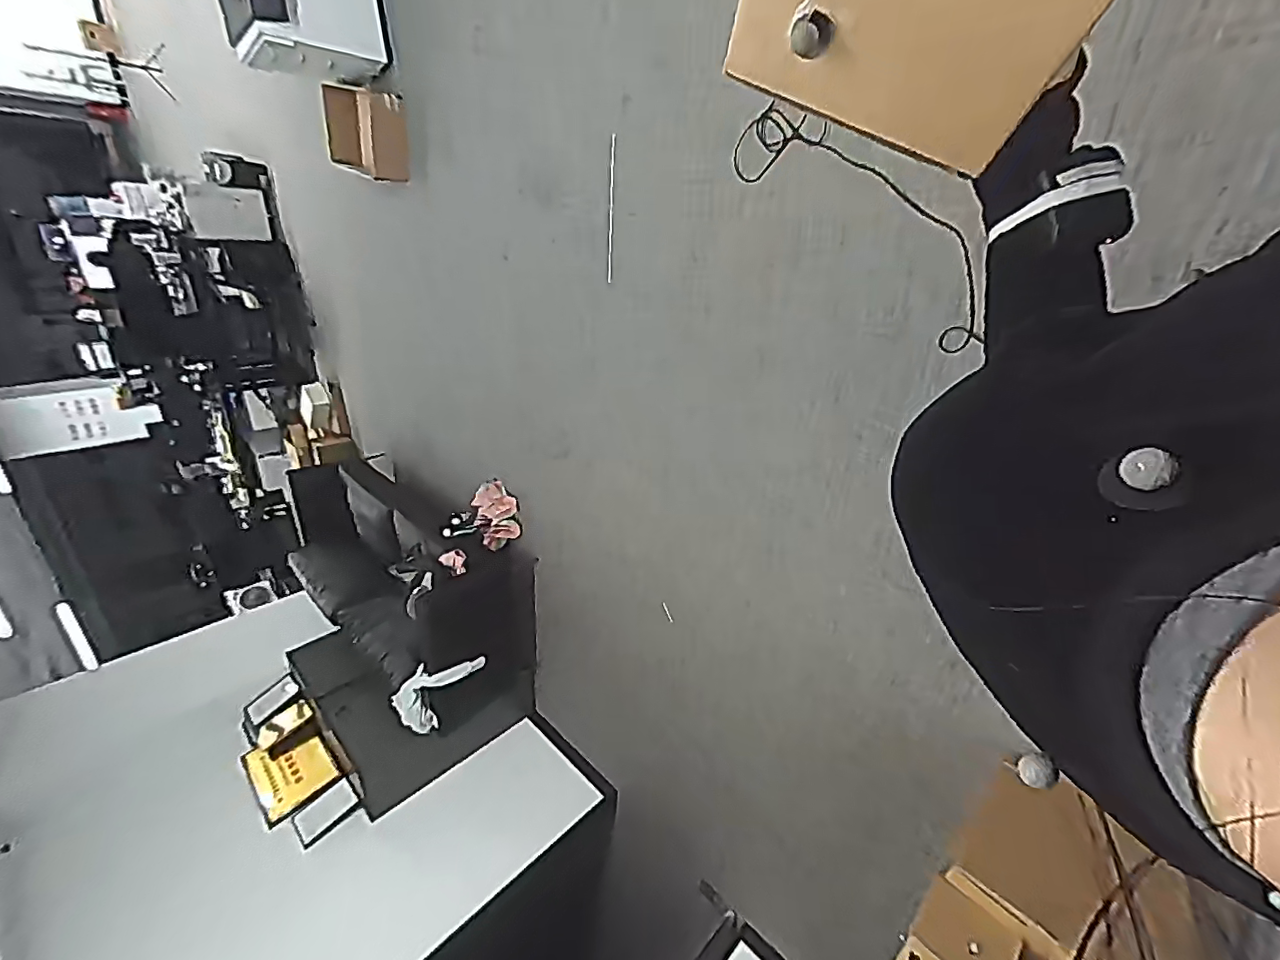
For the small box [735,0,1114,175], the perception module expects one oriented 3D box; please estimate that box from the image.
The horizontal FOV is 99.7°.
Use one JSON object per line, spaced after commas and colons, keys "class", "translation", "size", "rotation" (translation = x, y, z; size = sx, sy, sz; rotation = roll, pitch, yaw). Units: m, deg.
{"class": "small box", "translation": [0.180, -0.325, 0.303], "size": [0.179, 0.168, 0.176], "rotation": [26, 158, 5]}
